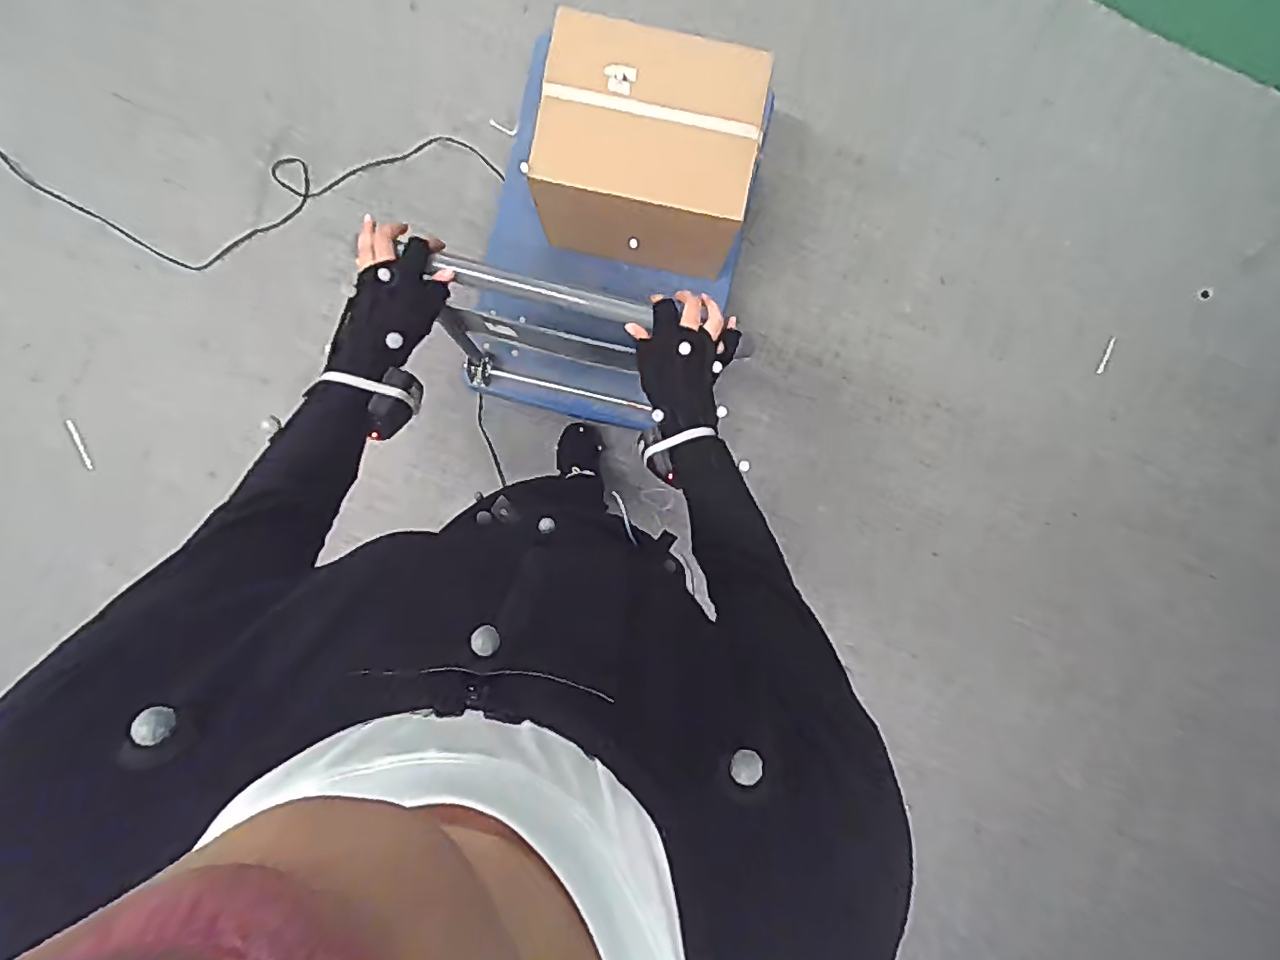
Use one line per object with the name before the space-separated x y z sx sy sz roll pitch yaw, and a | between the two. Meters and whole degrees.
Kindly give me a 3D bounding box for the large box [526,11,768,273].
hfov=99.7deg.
large box | 0.014 -0.667 1.130 0.408 0.320 0.320 11 90 -1
